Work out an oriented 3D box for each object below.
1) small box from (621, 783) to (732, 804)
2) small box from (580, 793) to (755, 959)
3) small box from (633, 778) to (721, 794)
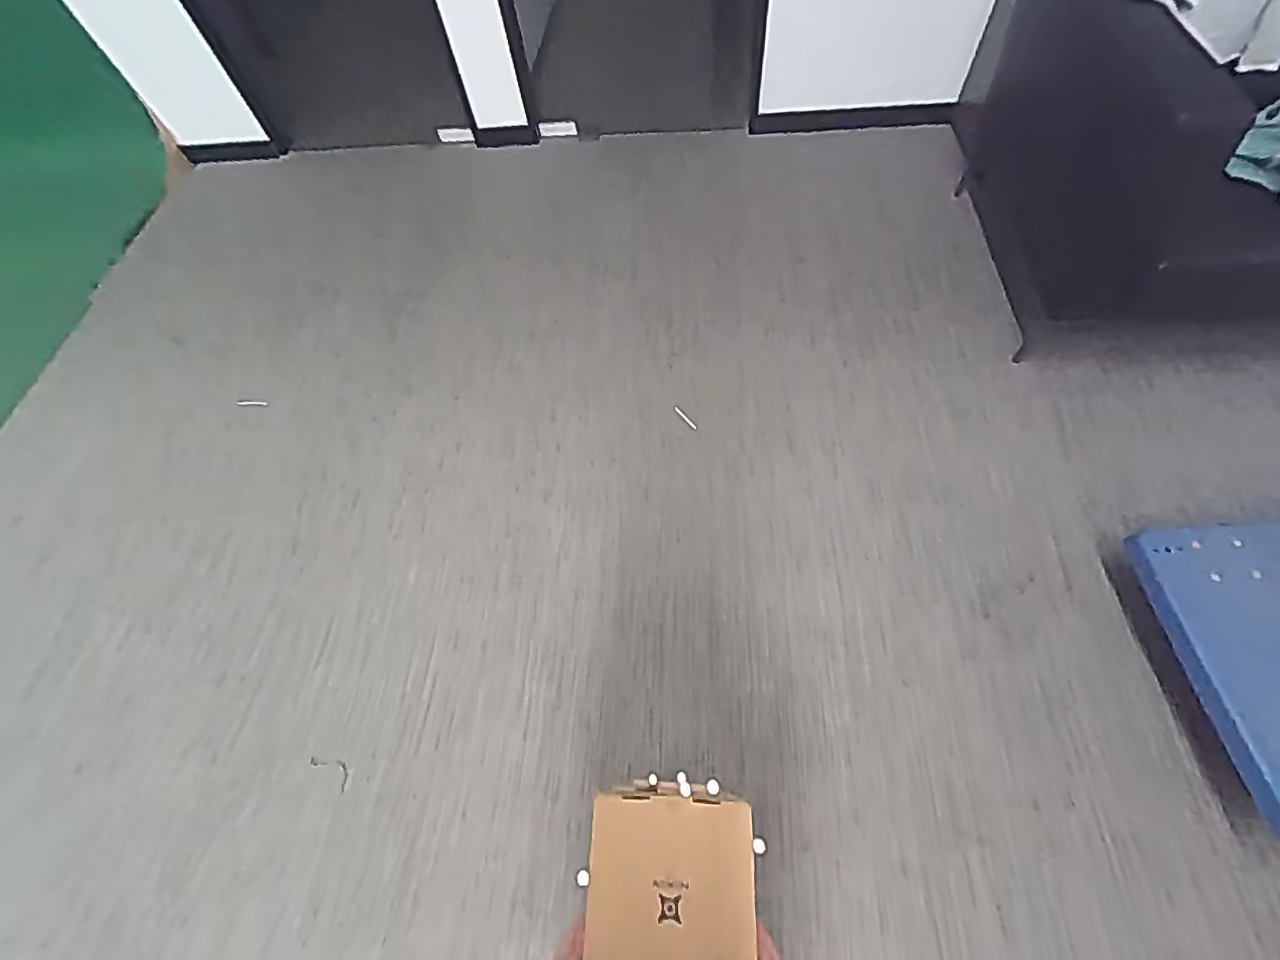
[{"bbox_3d":[0.055,0.597,0.879,0.179,0.176,0.168,3,62,6],"label":"small box"},{"bbox_3d":[0.035,0.448,0.588,0.168,0.176,0.179,0,61,5],"label":"small box"},{"bbox_3d":[0.066,0.673,1.025,0.168,0.176,0.179,2,60,6],"label":"small box"}]
